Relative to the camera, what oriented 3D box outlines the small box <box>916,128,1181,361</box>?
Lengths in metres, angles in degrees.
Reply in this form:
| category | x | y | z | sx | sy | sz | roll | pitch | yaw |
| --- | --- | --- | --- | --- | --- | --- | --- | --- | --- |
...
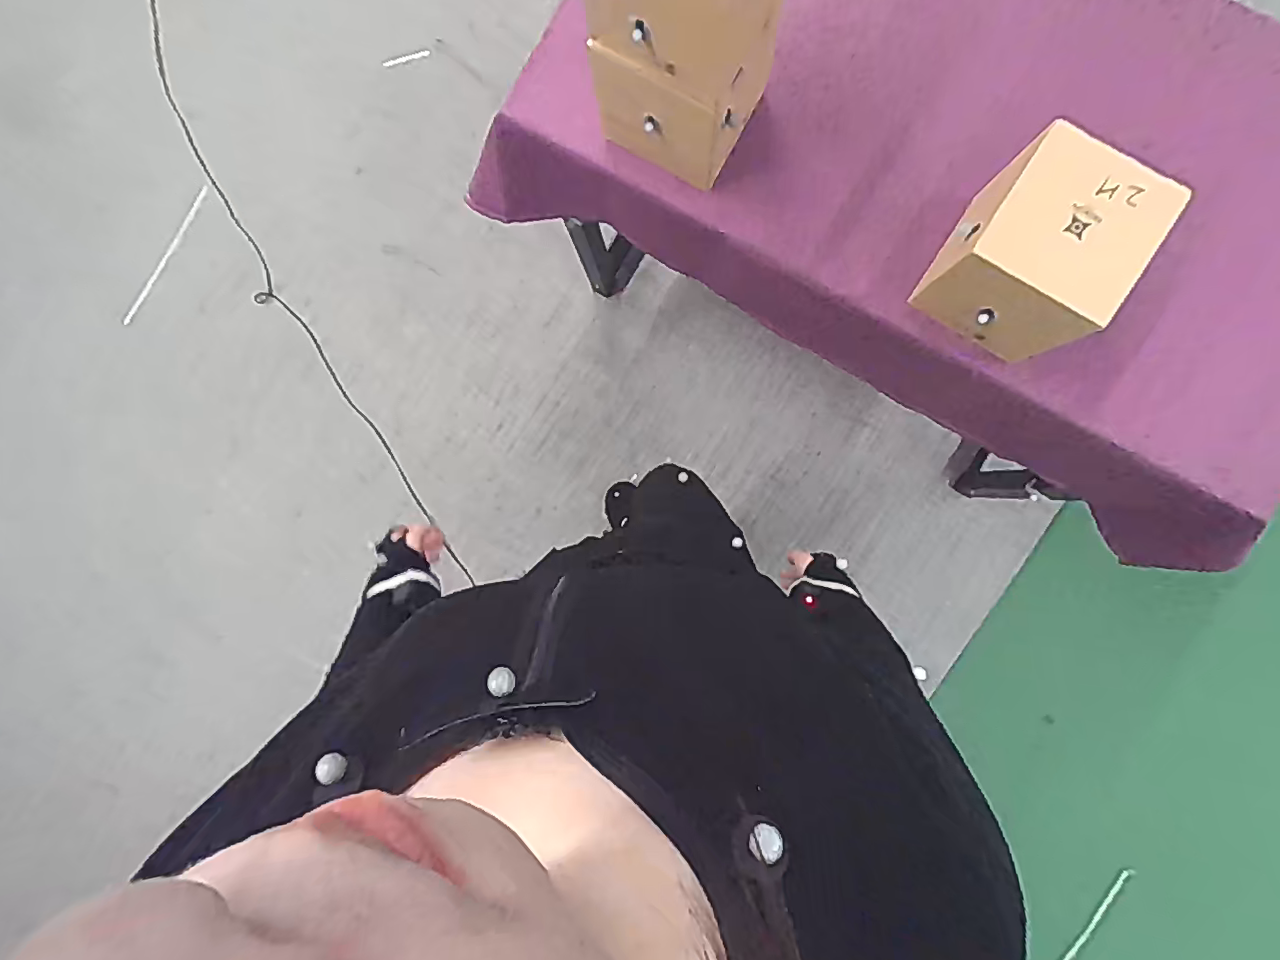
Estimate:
| category | x | y | z | sx | sy | sz | roll | pitch | yaw |
| --- | --- | --- | --- | --- | --- | --- | --- | --- | --- |
| small box | 0.481 | -0.273 | 0.674 | 0.168 | 0.176 | 0.179 | 33 | 91 | 2 |

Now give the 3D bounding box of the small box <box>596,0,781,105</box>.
| category | x | y | z | sx | sy | sz | roll | pitch | yaw |
| --- | --- | --- | --- | --- | --- | --- | --- | --- | --- |
| small box | 0.058 | -0.534 | 0.535 | 0.168 | 0.176 | 0.179 | 30 | 92 | 3 |
